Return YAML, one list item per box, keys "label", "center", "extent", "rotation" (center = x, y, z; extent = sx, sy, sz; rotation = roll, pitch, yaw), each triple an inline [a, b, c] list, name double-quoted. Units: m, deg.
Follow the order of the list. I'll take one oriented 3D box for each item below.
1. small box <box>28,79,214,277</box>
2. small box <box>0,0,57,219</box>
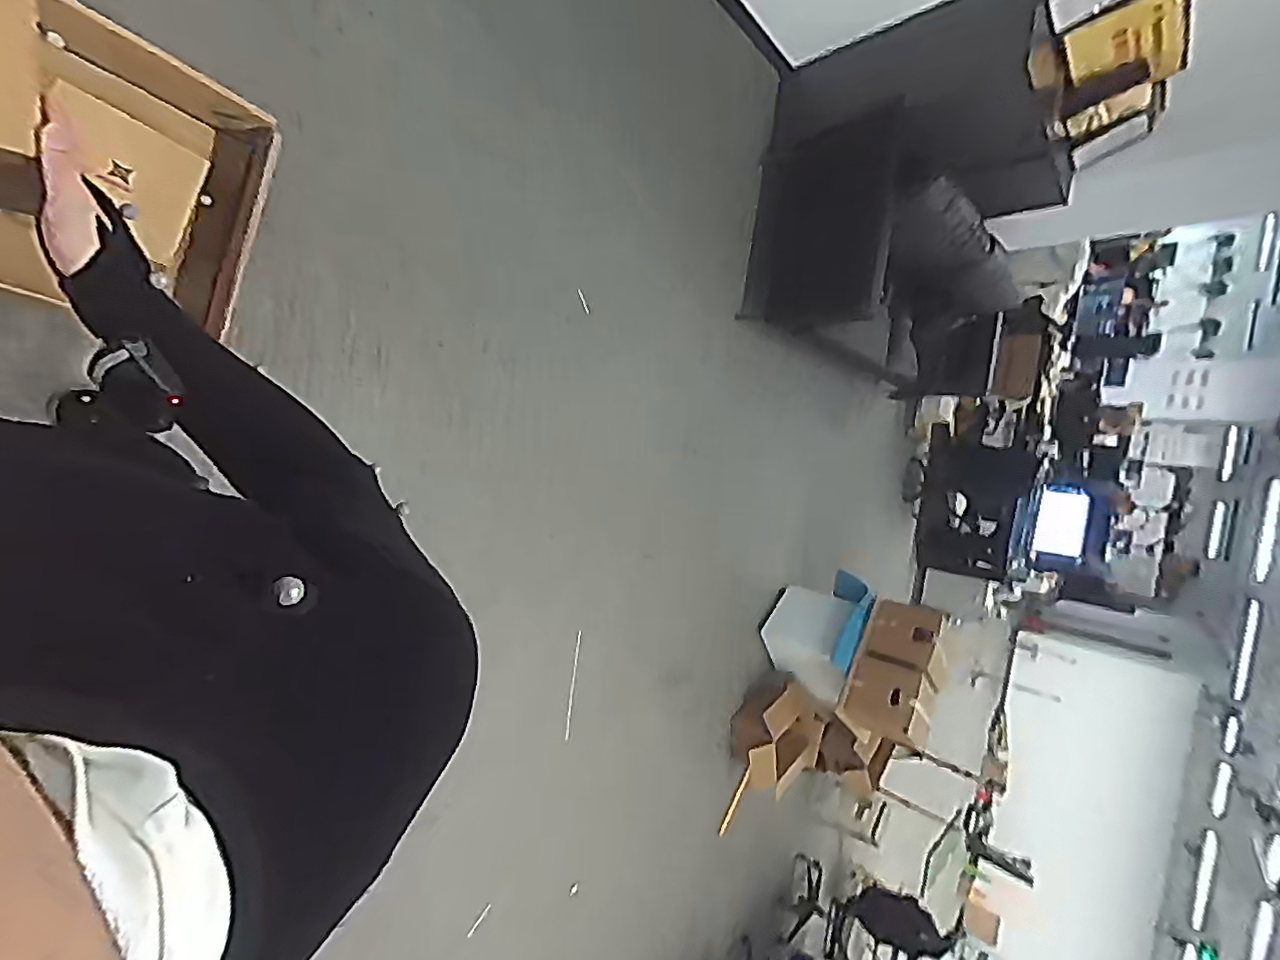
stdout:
- label: "small box"
  center: [-0.772, -0.427, 0.798]
  extent: [0.168, 0.176, 0.179]
  rotation: [23, 82, -46]
- label: "small box"
  center: [-0.562, -0.328, 0.405]
  extent: [0.168, 0.176, 0.179]
  rotation: [-3, 95, -47]
